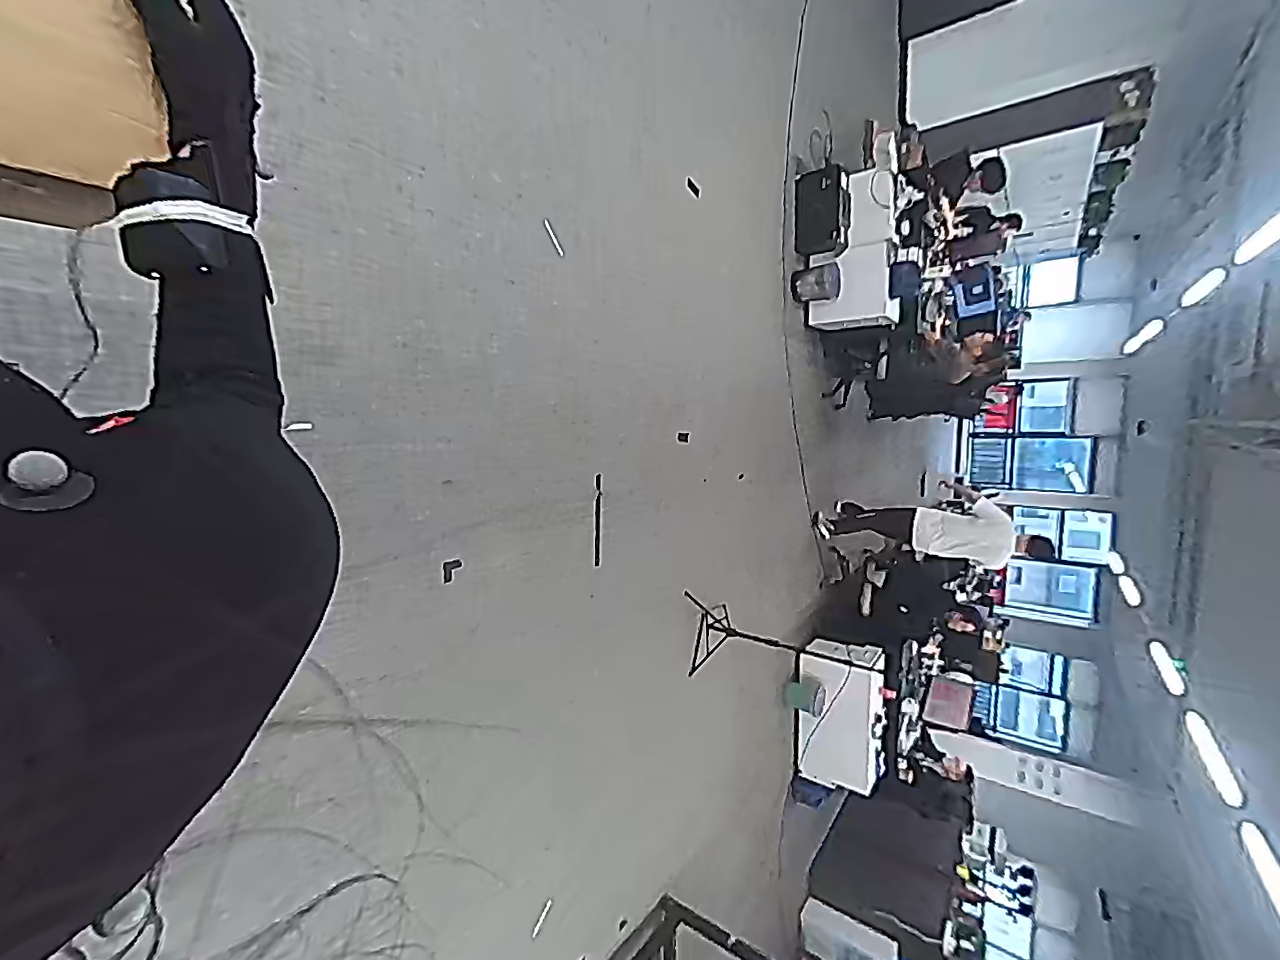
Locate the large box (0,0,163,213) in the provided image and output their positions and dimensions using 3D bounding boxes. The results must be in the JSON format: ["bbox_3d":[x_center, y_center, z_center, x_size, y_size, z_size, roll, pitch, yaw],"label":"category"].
[{"bbox_3d":[-0.587,-0.375,0.304,0.408,0.320,0.320,-11,112,-54],"label":"large box"}]
